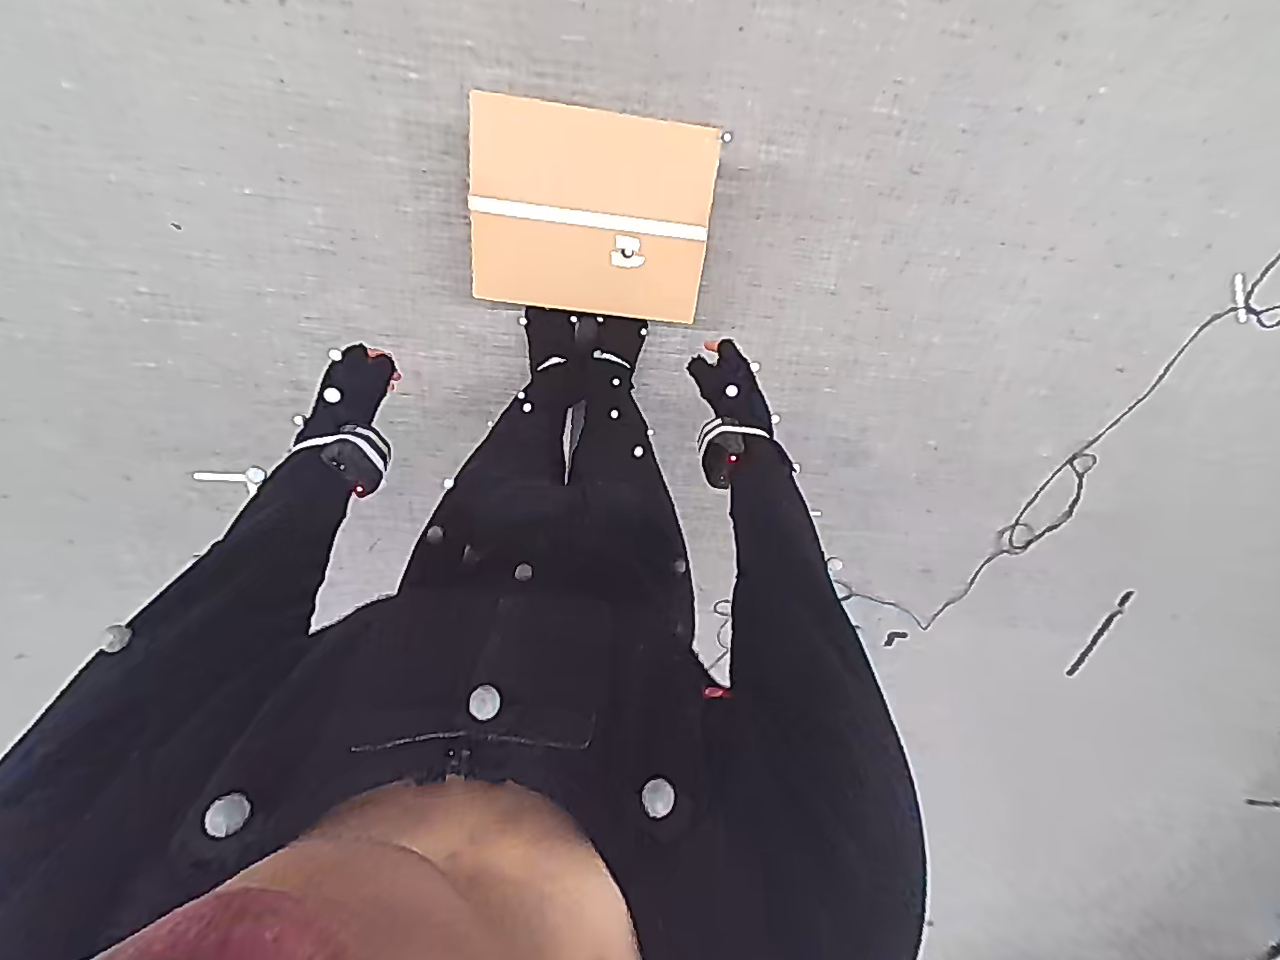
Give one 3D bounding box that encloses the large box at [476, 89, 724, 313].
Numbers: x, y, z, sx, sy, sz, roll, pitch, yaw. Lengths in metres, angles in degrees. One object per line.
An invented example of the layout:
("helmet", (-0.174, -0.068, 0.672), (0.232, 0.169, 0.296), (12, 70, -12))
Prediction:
("large box", (-0.085, -0.527, 1.056), (0.408, 0.320, 0.320), (4, 118, -7))
